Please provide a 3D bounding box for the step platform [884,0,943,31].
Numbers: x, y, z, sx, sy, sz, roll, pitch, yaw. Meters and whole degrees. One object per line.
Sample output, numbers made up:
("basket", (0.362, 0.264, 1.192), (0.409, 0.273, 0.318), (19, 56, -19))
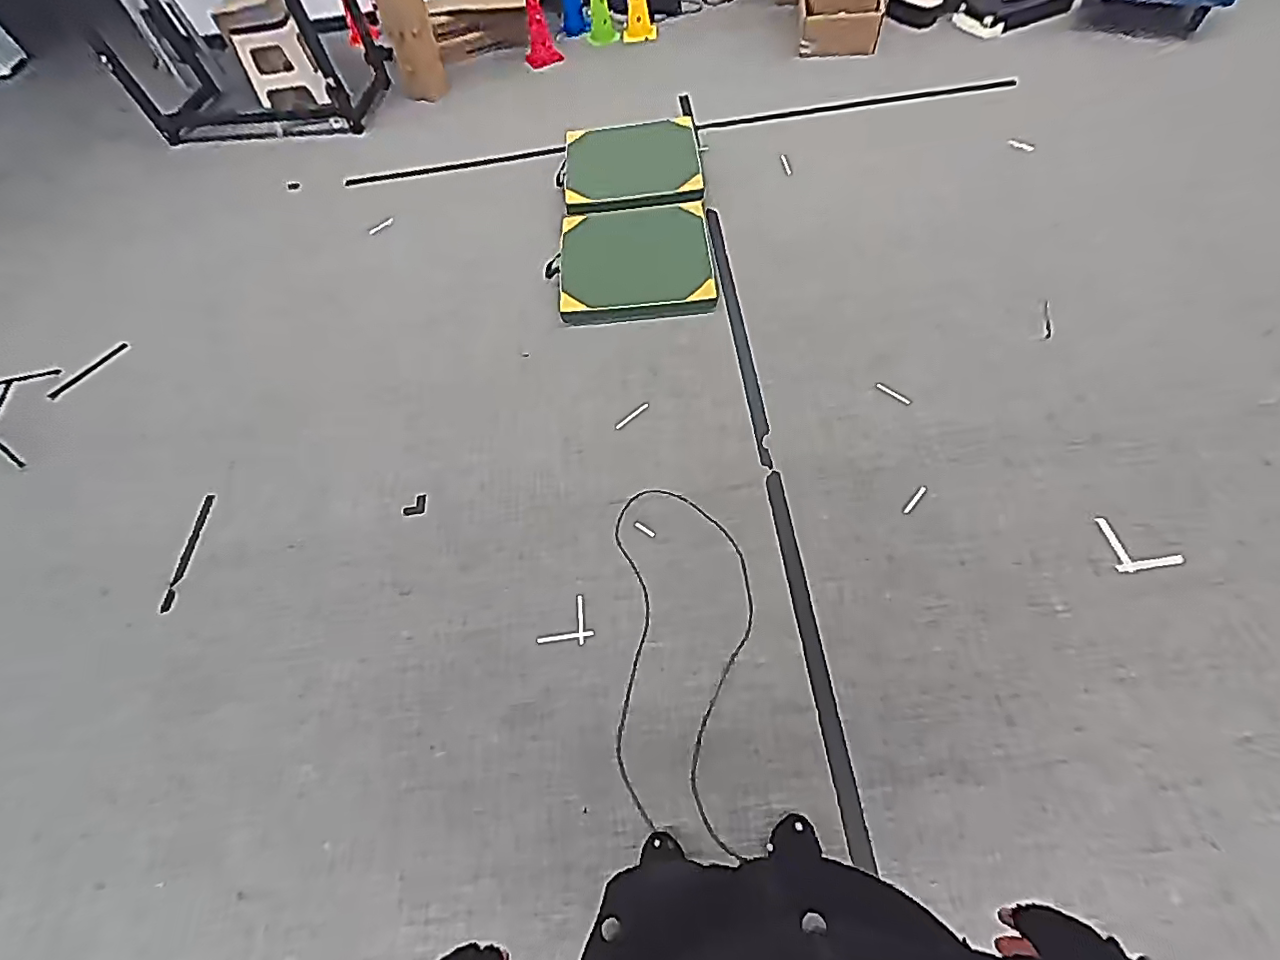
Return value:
("step platform", (1.730, -2.784, 3.036), (0.684, 0.204, 0.286), (-32, 62, -12))
